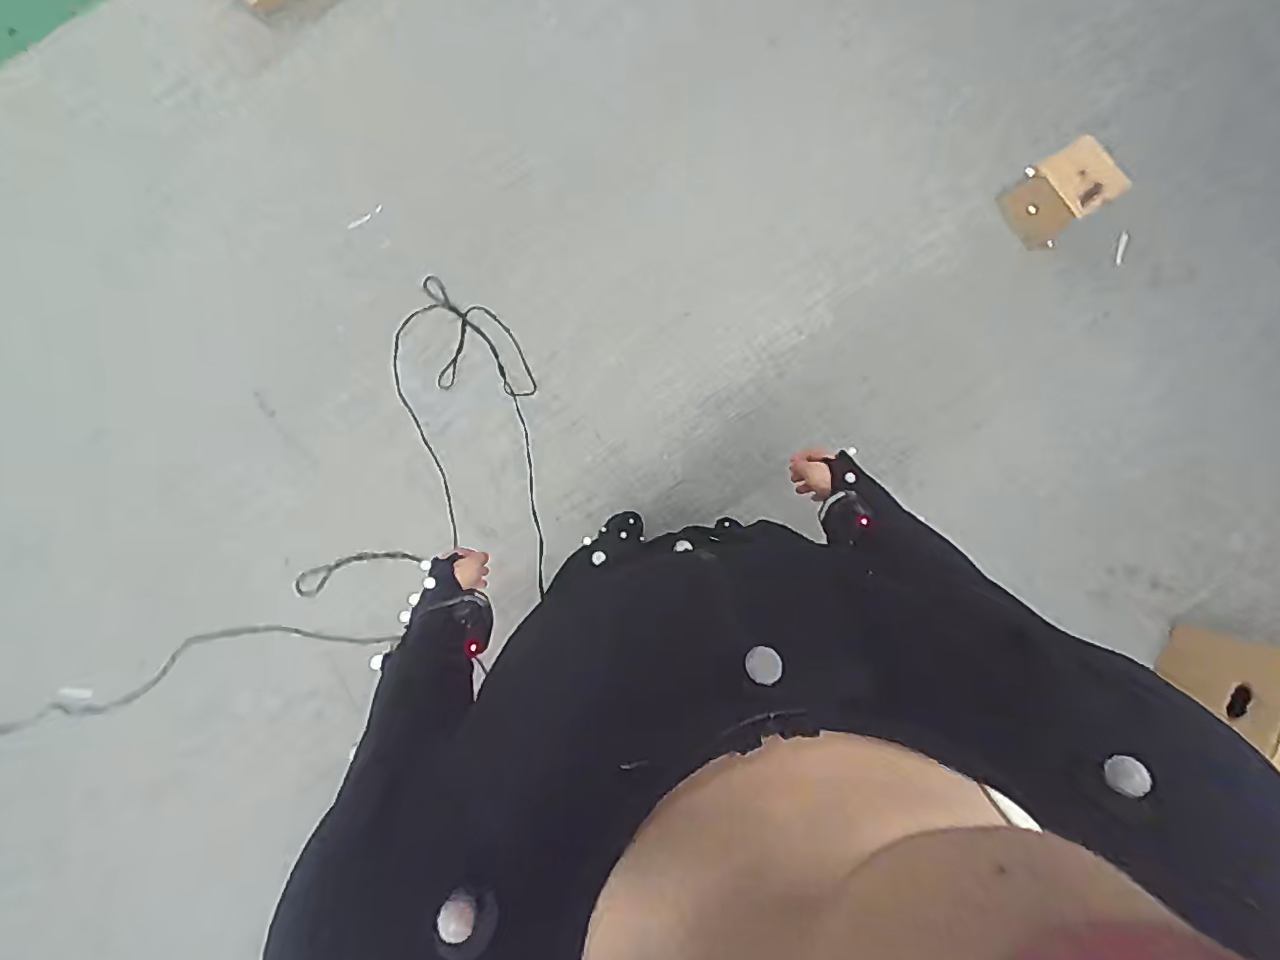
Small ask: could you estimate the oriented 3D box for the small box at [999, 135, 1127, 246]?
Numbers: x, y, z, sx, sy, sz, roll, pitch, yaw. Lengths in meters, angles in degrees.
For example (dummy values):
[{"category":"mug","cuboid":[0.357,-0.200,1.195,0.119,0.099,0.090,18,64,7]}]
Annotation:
[{"category":"small box","cuboid":[1.124,-0.761,1.451,0.168,0.176,0.179,-33,87,-1]}]
